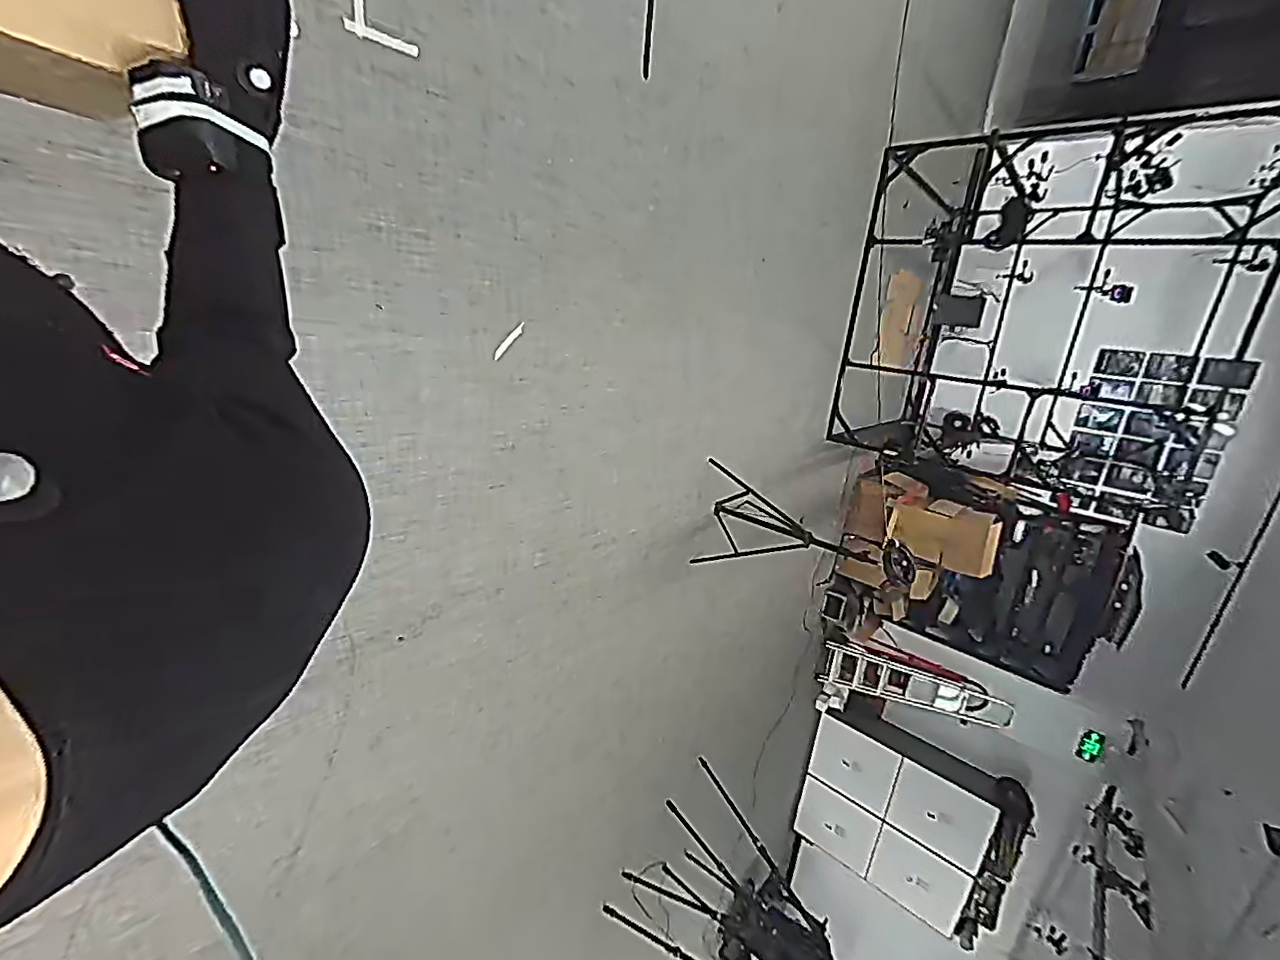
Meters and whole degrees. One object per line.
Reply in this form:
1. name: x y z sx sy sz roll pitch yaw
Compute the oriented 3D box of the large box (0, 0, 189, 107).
1. large box: -0.558 -0.465 0.297 0.408 0.320 0.320 -12 119 -52
